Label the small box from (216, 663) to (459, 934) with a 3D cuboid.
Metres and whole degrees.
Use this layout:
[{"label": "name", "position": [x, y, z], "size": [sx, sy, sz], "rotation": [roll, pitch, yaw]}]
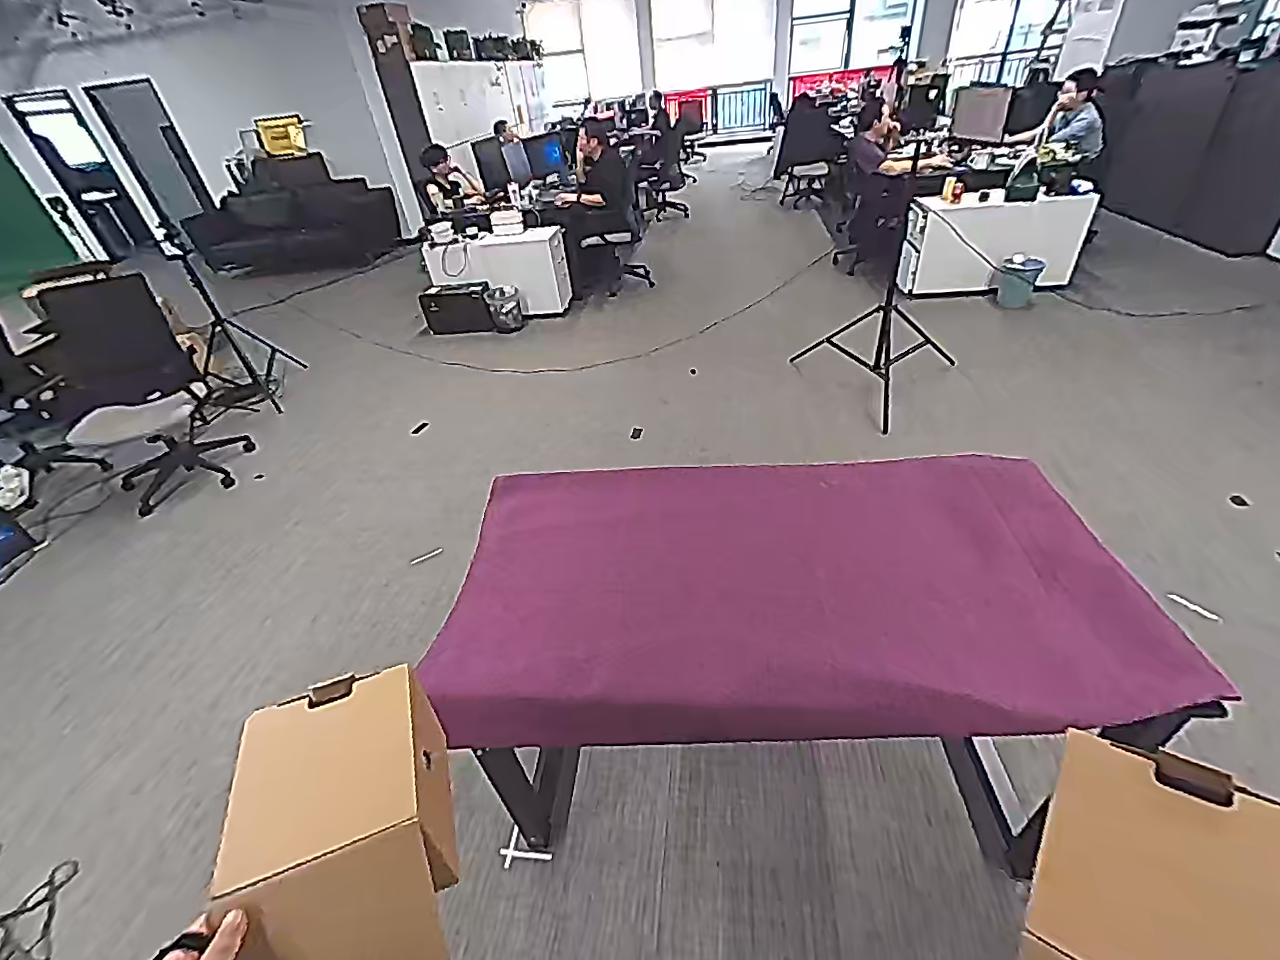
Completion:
[{"label": "small box", "position": [-0.299, 0.337, 0.573], "size": [0.168, 0.176, 0.179], "rotation": [-14, 38, -16]}]
